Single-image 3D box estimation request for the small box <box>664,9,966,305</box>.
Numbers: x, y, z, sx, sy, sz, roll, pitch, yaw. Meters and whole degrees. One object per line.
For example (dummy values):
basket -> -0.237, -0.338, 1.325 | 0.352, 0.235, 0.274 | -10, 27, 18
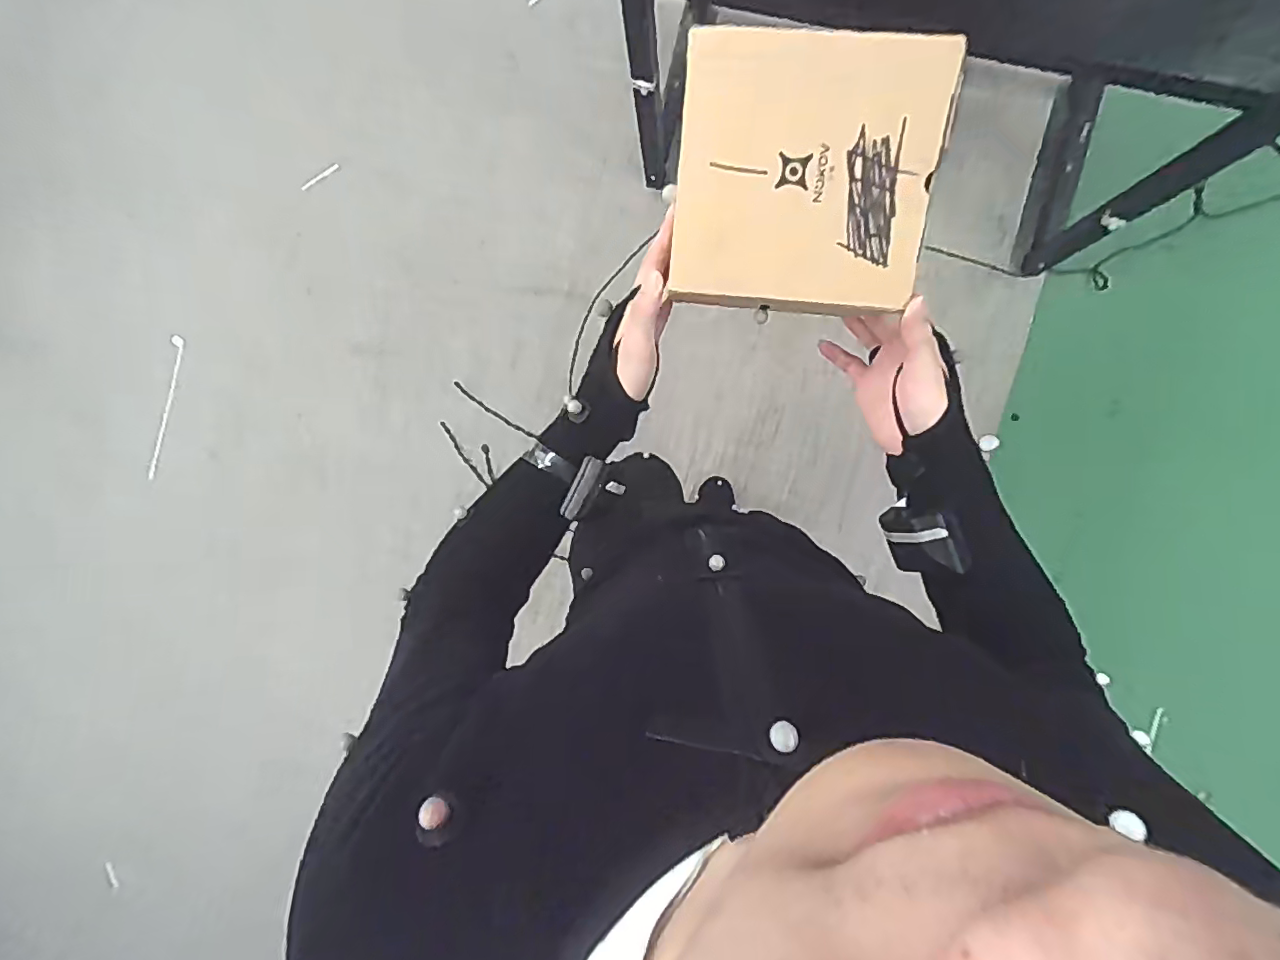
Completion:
small box -> 0.117, -0.236, 0.439 | 0.179, 0.176, 0.168 | 6, 107, 4
